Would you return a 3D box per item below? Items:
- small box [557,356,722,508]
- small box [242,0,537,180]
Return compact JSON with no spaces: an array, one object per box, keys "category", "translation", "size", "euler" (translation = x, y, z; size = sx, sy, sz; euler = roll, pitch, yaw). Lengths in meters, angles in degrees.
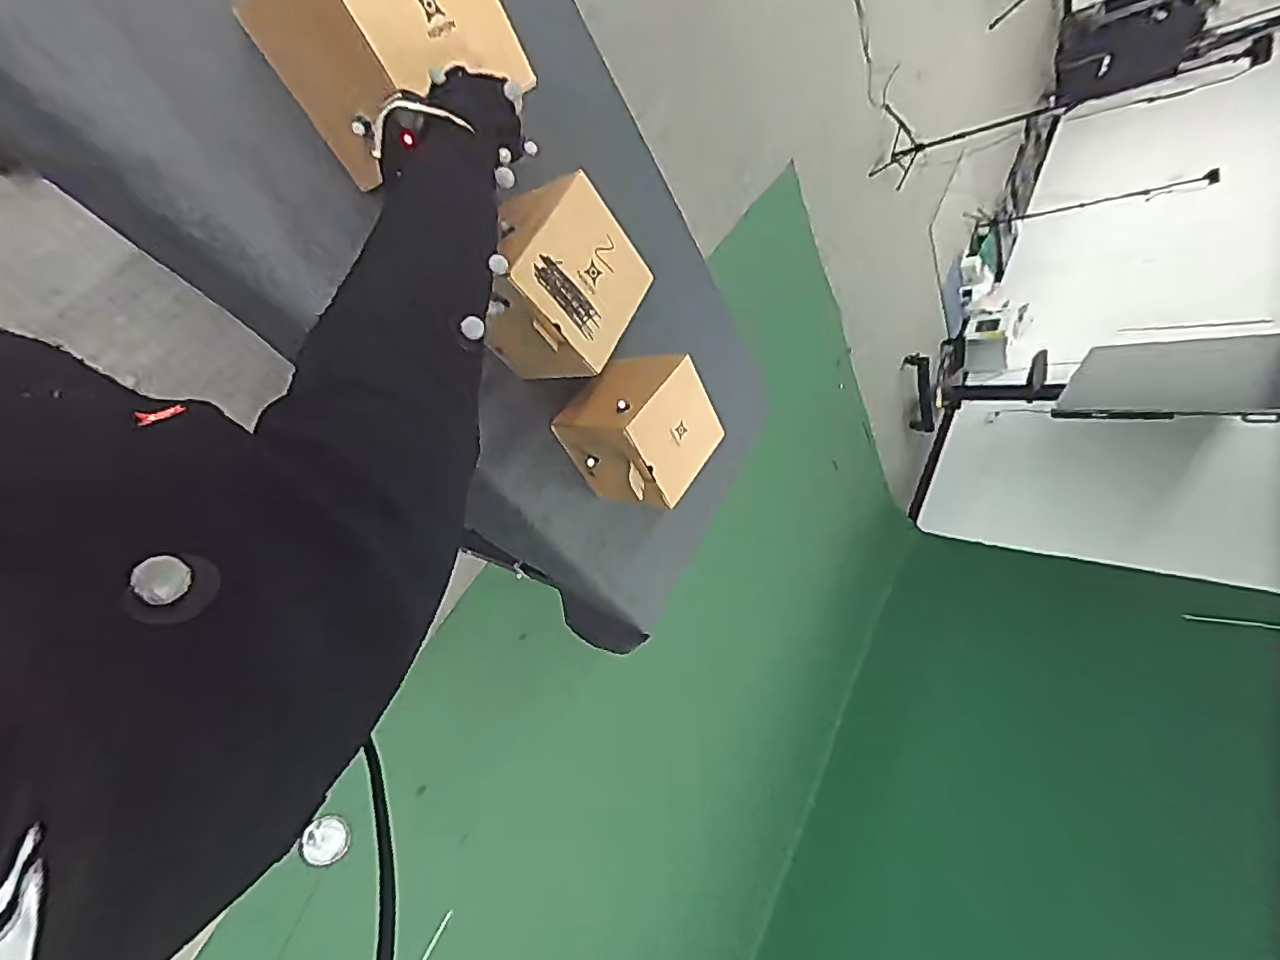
[{"category":"small box","translation":[0.001,-0.082,0.870],"size":[0.179,0.176,0.168],"euler":[-53,130,-27]},{"category":"small box","translation":[-0.246,-0.432,0.545],"size":[0.168,0.176,0.179],"euler":[-55,130,-28]}]
